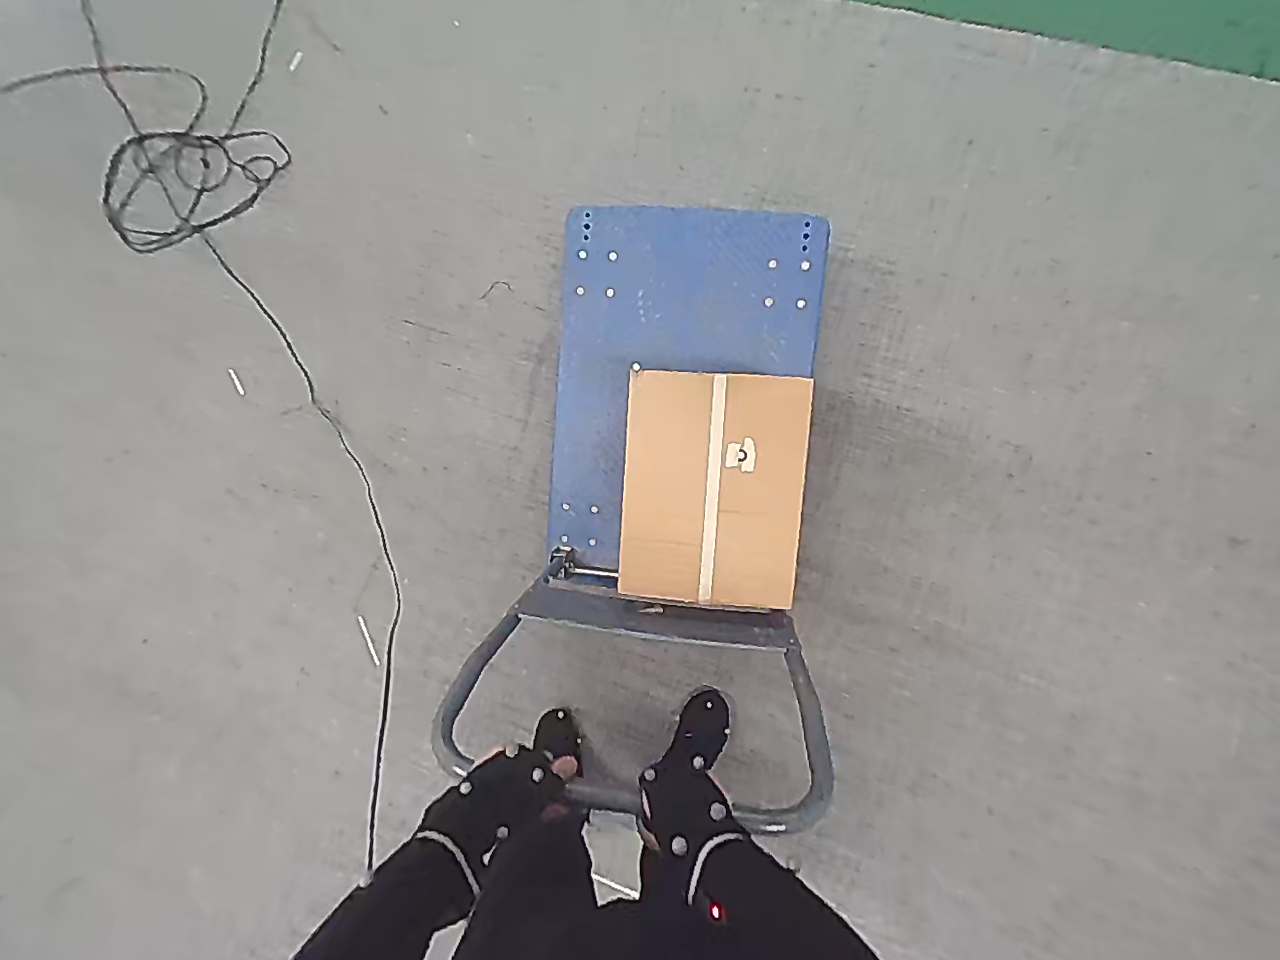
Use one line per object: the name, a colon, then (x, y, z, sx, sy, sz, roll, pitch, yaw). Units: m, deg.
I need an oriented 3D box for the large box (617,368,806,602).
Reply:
large box: (0.138, -0.004, 1.088, 0.320, 0.320, 0.408, 4, 97, 6)
